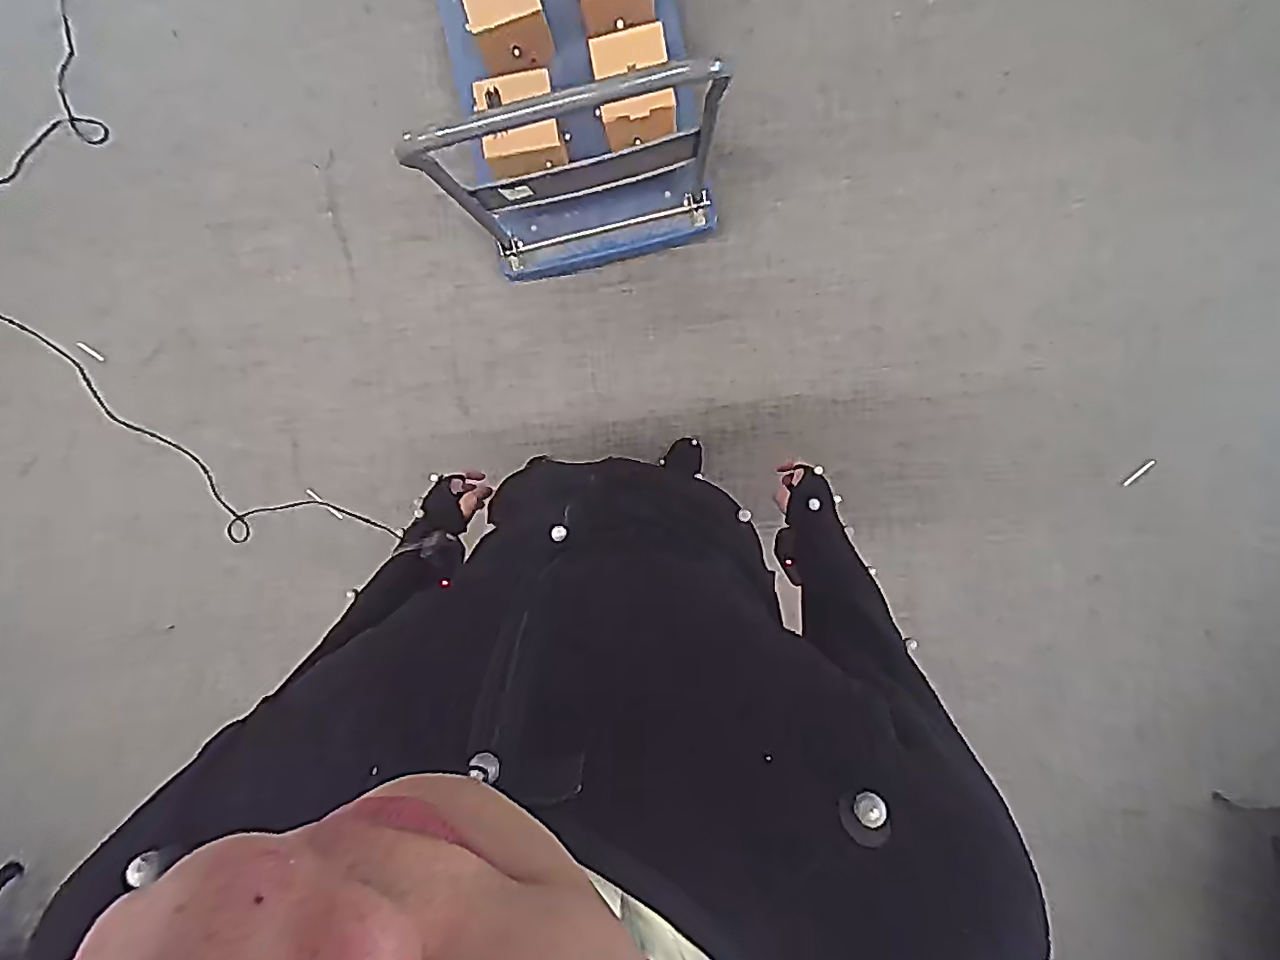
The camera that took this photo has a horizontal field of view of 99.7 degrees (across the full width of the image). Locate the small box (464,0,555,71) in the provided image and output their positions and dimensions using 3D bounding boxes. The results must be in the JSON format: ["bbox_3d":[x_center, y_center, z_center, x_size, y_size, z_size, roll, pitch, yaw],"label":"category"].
[{"bbox_3d":[-0.311,-1.110,1.271,0.168,0.176,0.179,-15,96,5],"label":"small box"}]

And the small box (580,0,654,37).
[{"bbox_3d":[-0.069,-1.178,1.246,0.168,0.176,0.179,-15,97,7],"label":"small box"}]

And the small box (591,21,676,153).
[{"bbox_3d":[-0.012,-0.915,1.275,0.168,0.176,0.179,-11,96,5],"label":"small box"}]
